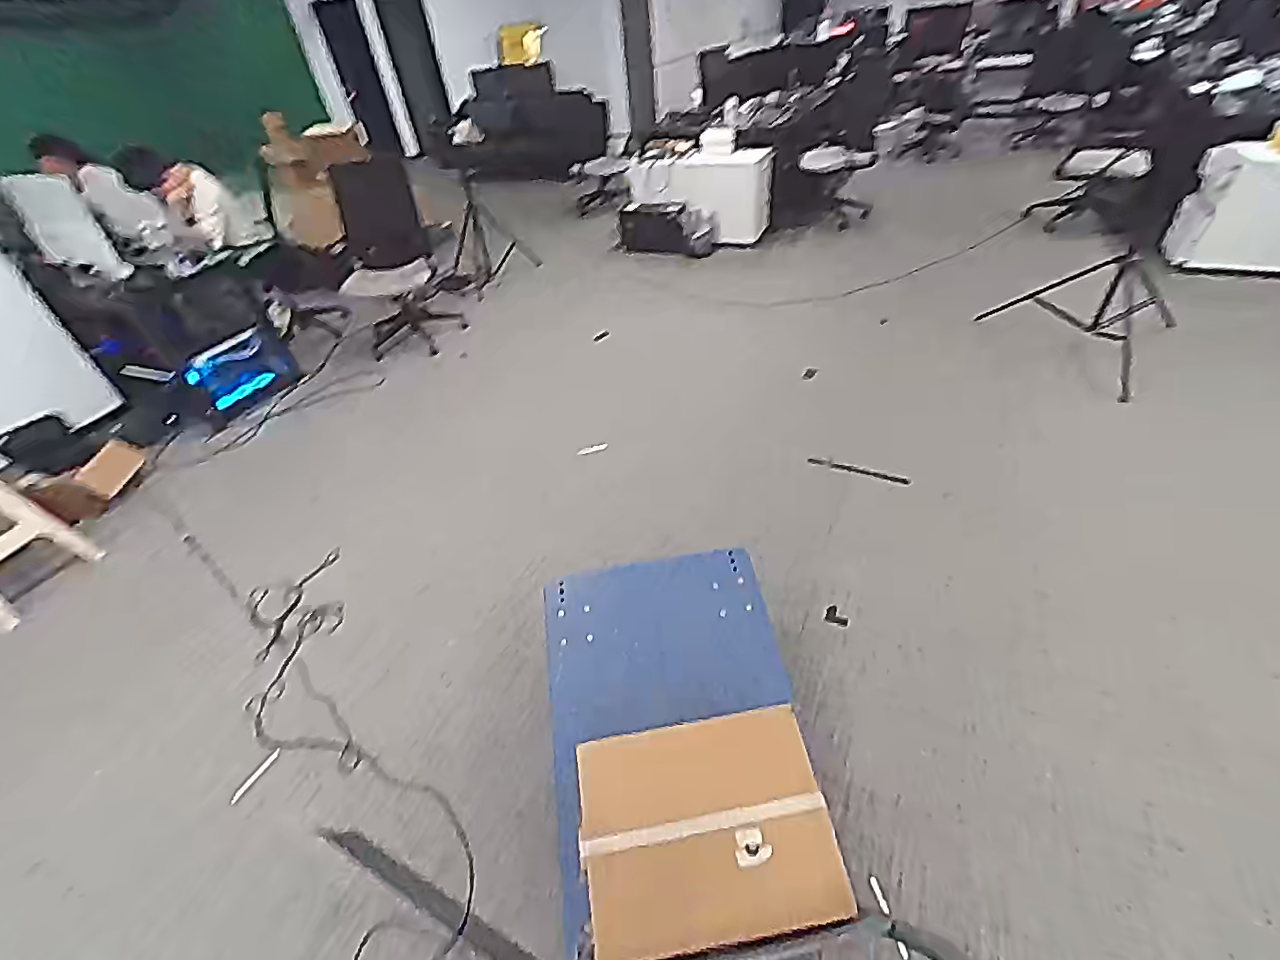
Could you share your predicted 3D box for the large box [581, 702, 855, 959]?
[{"bbox_3d":[0.121,0.662,1.030,0.408,0.320,0.320,-10,55,-4],"label":"large box"}]
